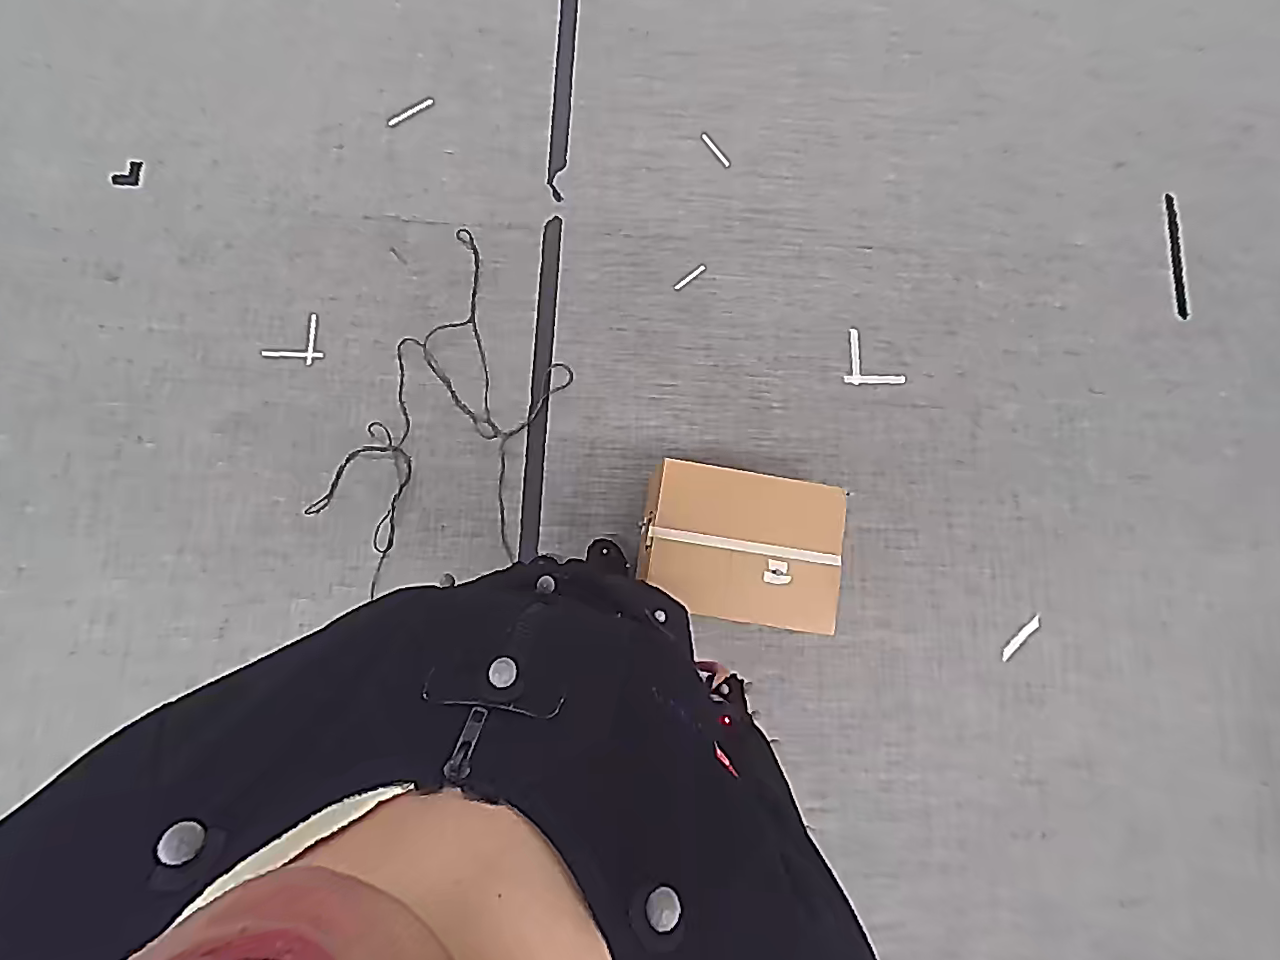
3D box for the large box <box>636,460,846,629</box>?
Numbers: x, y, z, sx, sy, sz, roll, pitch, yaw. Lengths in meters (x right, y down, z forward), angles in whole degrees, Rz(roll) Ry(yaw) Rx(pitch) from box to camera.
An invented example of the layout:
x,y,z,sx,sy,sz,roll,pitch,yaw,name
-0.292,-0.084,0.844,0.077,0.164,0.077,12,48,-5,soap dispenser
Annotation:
x,y,z,sx,sy,sz,roll,pitch,yaw,name
0.214,0.153,1.277,0.408,0.320,0.320,9,83,-4,large box
